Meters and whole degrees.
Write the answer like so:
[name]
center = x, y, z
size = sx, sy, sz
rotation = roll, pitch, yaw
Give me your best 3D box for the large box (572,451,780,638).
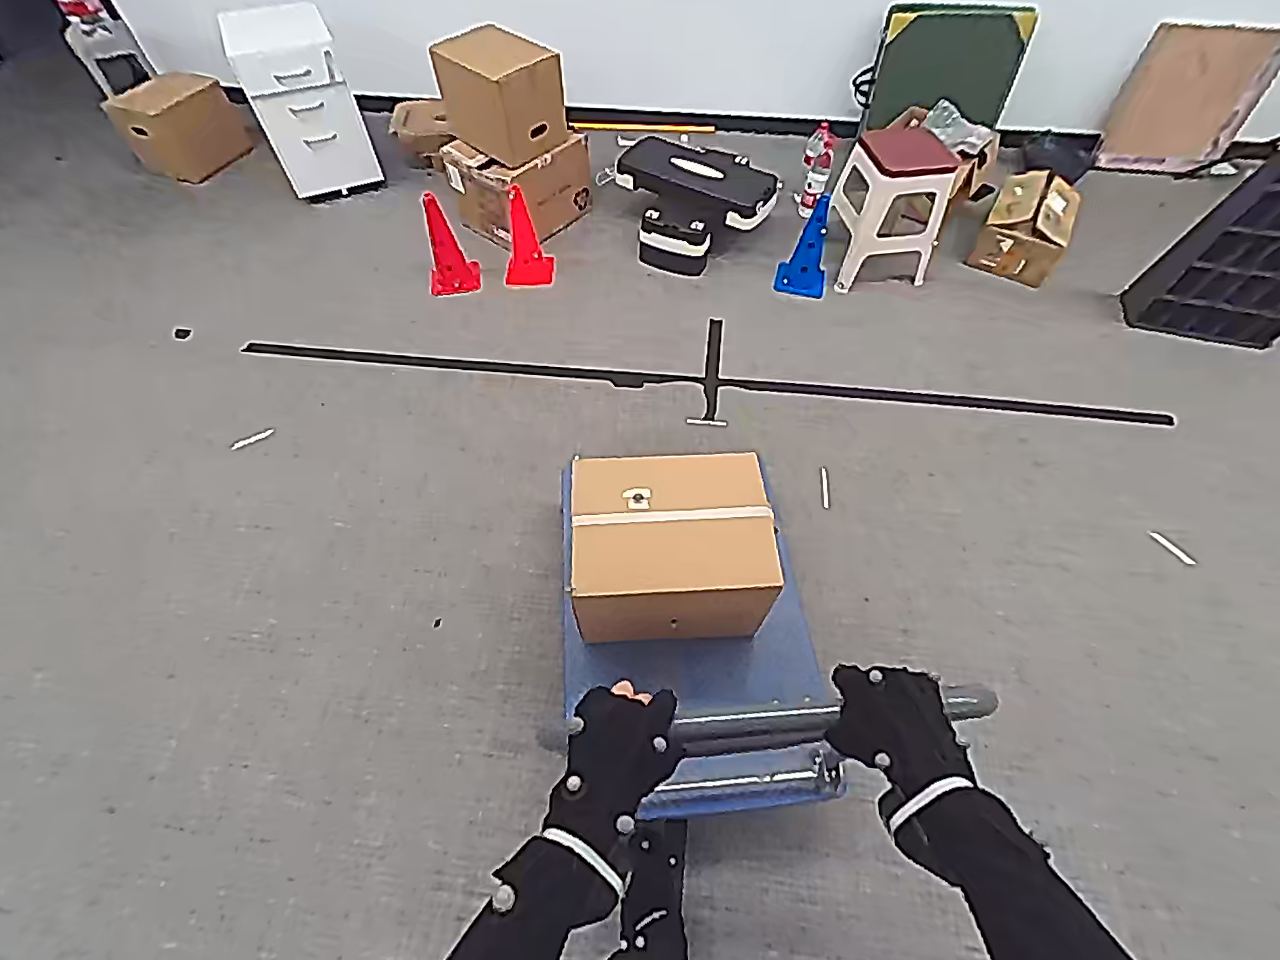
[large box]
center = 0.064, 0.156, 1.227
size = 0.408, 0.320, 0.320
rotation = -3, 57, -1
